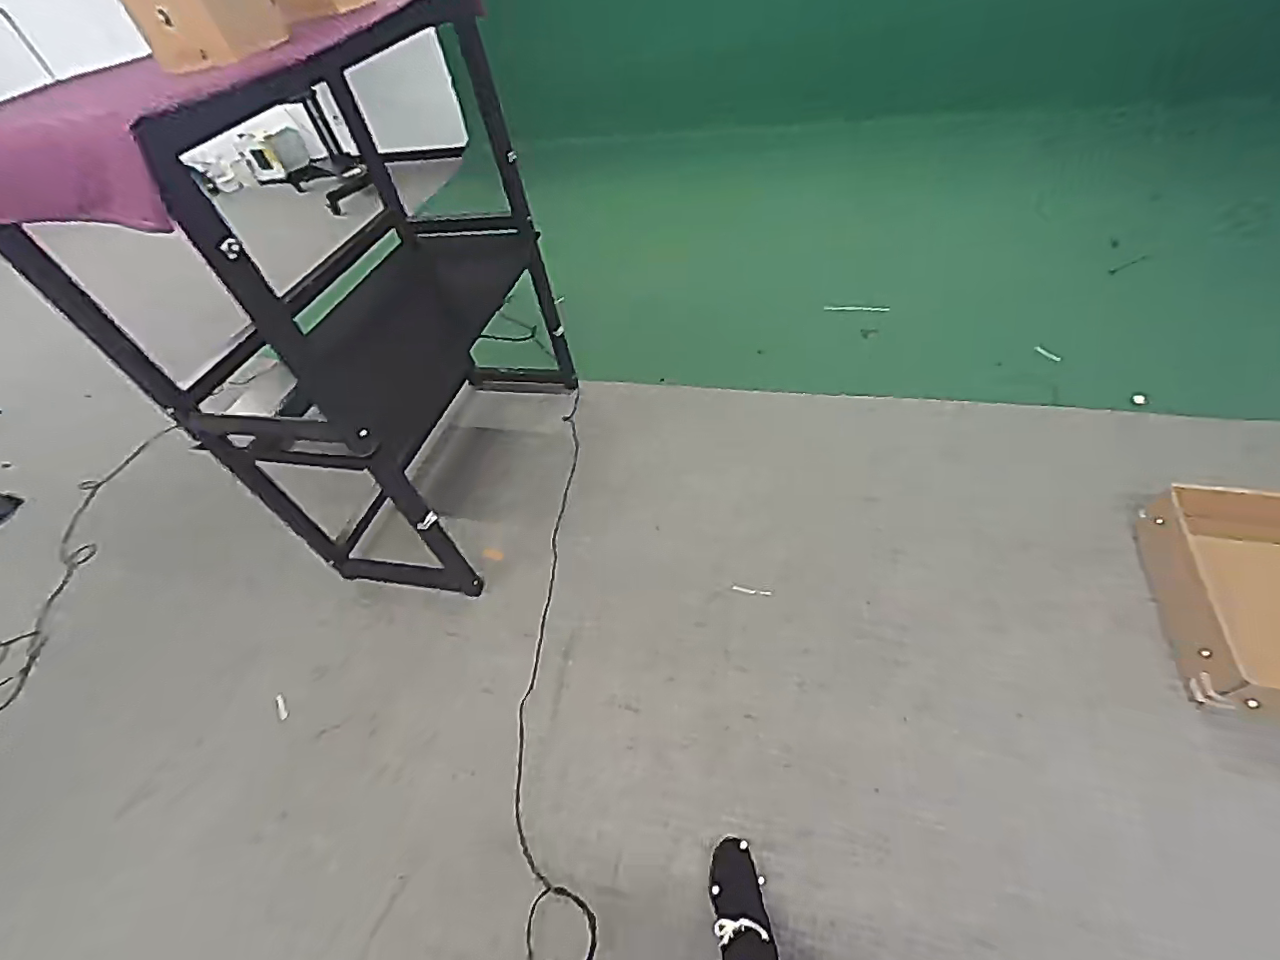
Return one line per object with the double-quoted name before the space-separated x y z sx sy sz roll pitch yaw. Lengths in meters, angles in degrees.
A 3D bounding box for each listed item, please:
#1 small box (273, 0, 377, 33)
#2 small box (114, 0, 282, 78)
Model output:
"small box" -0.777 -1.208 1.297 0.179 0.176 0.168 7 51 18
"small box" -0.820 -0.871 1.004 0.168 0.176 0.179 2 49 13
